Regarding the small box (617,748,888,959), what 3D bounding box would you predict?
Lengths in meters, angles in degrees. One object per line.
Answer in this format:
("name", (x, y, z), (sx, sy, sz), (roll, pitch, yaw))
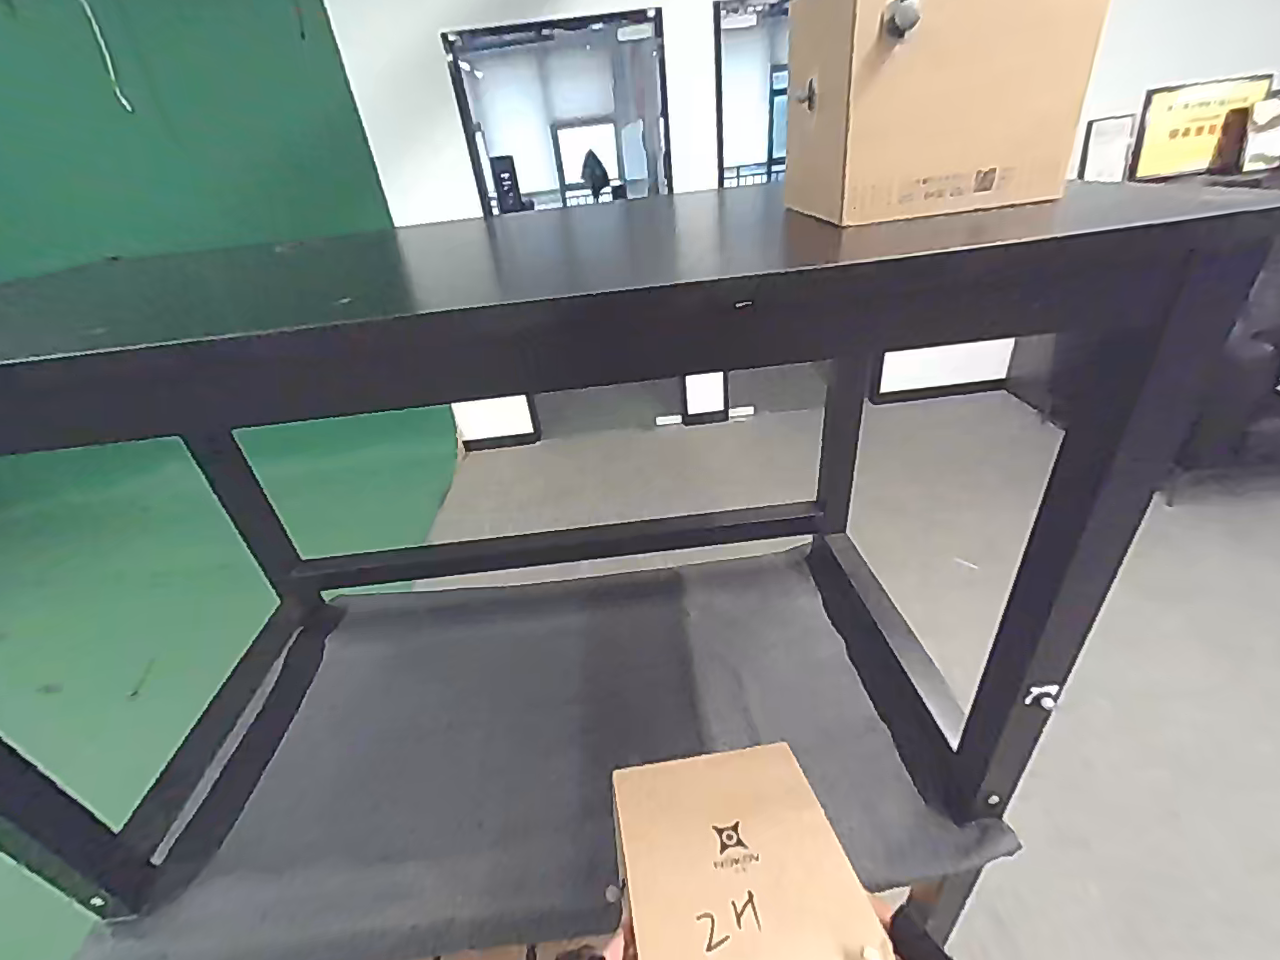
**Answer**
("small box", (0.072, 0.362, 0.447), (0.168, 0.176, 0.179), (-5, 21, -7))
